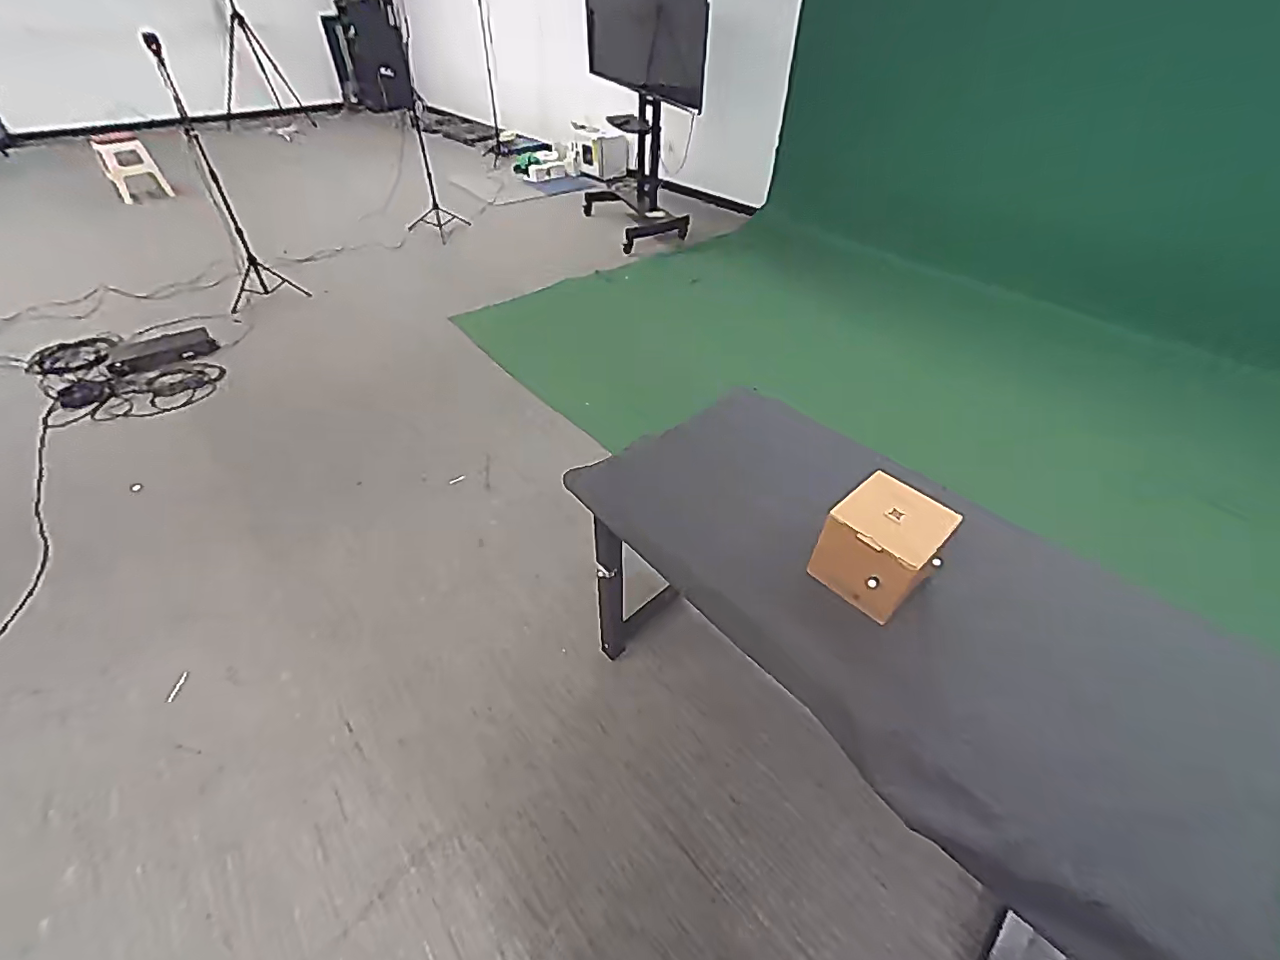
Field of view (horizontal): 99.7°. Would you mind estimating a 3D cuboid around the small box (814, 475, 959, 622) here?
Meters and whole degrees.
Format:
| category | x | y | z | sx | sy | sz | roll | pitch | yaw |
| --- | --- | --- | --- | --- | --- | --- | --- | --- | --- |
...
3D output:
| category | x | y | z | sx | sy | sz | roll | pitch | yaw |
| --- | --- | --- | --- | --- | --- | --- | --- | --- | --- |
| small box | 0.445 | 0.128 | 1.004 | 0.179 | 0.176 | 0.168 | -31 | 53 | -32 |
